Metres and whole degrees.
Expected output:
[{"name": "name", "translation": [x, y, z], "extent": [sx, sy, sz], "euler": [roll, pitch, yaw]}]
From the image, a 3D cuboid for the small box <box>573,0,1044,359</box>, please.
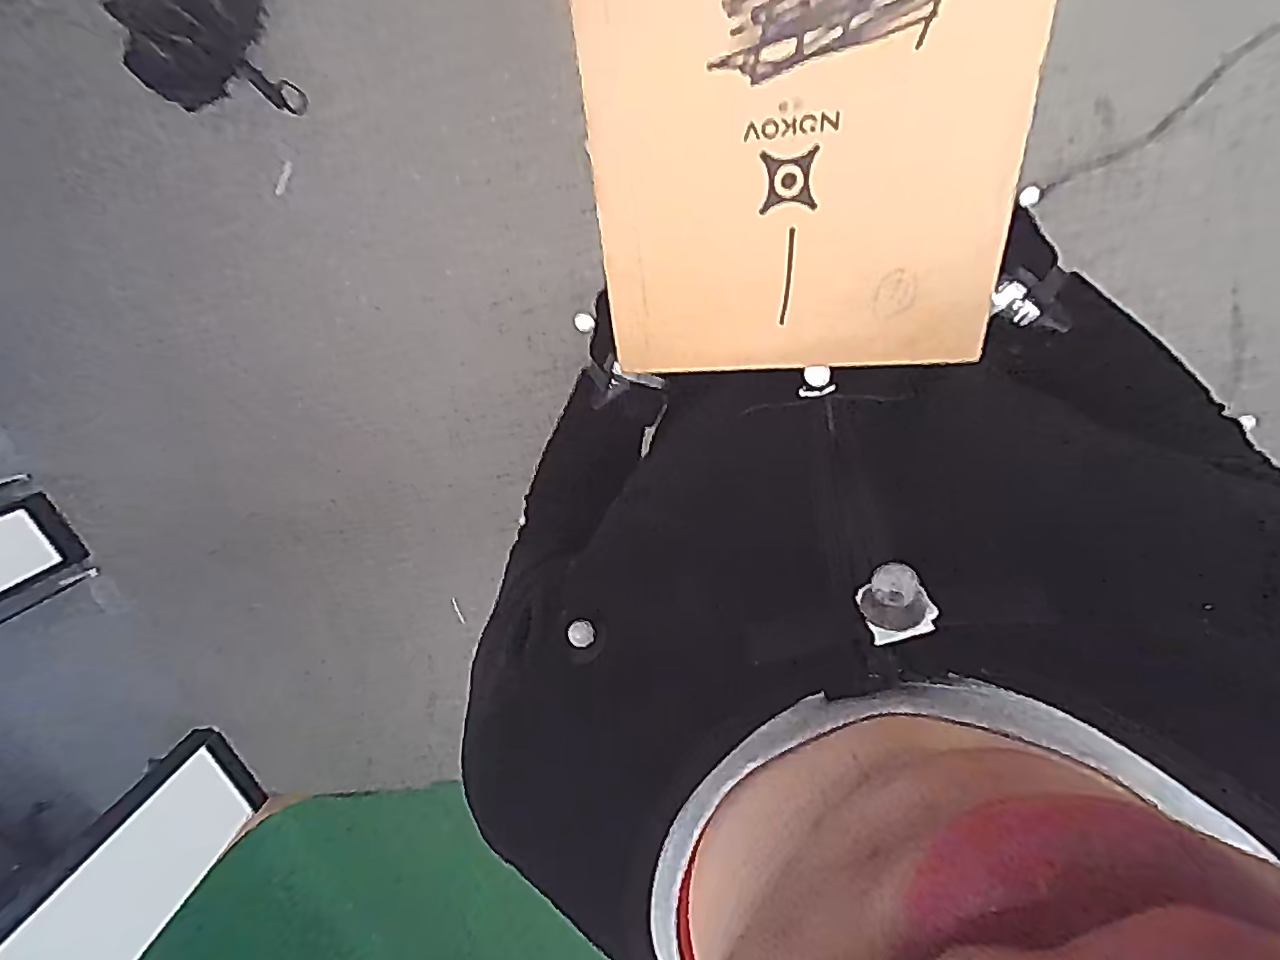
[{"name": "small box", "translation": [0.074, -0.174, 0.282], "extent": [0.168, 0.176, 0.179], "euler": [2, 122, 13]}]
